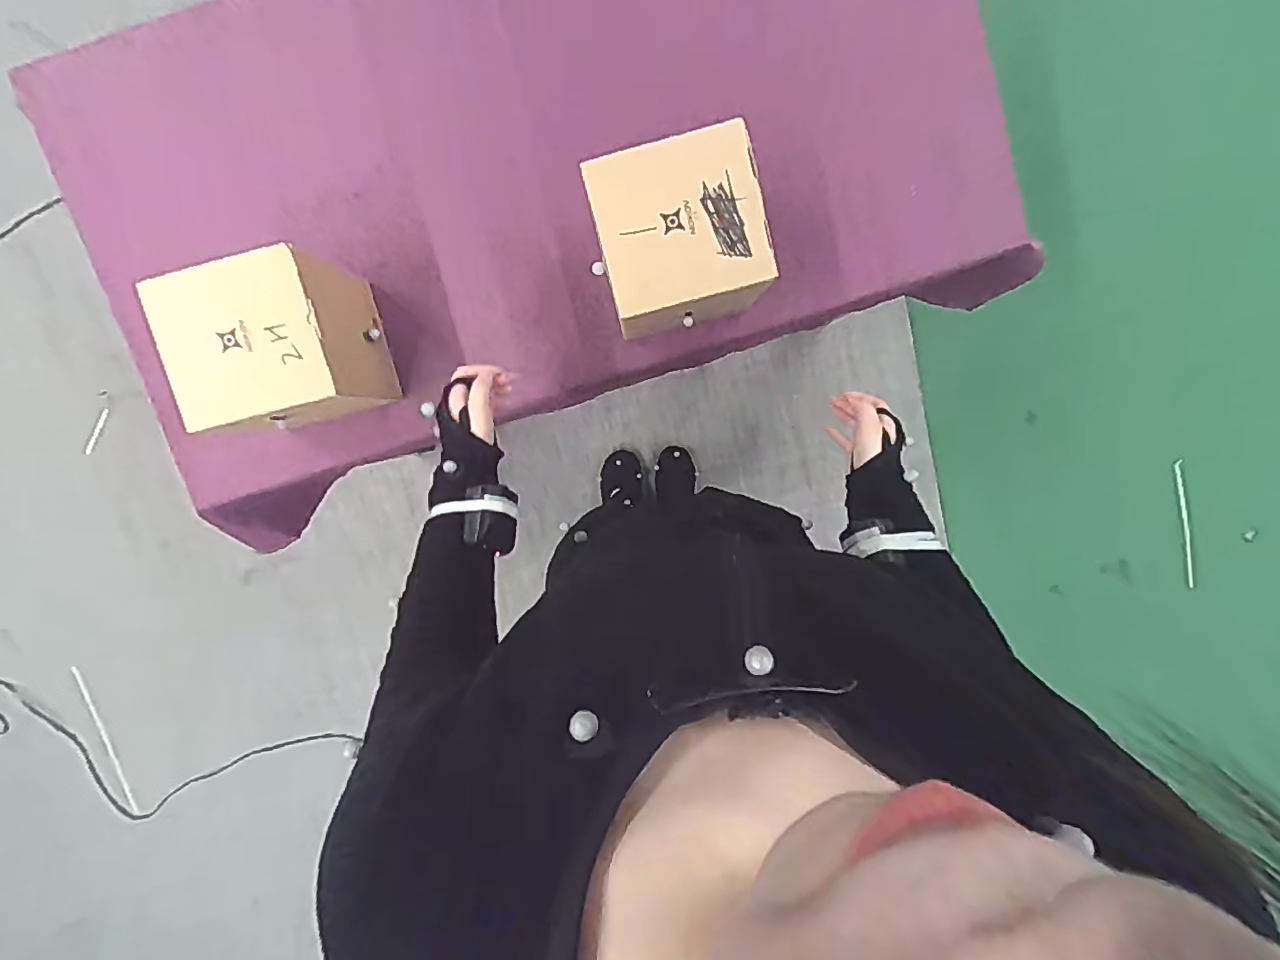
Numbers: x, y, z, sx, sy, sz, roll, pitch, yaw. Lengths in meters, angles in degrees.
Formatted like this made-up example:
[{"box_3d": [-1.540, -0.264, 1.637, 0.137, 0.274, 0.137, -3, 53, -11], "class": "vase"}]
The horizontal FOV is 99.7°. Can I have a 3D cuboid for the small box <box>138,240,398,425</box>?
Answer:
[{"box_3d": [-0.431, -0.164, 0.658, 0.179, 0.176, 0.168, -14, 97, 1], "class": "small box"}]
